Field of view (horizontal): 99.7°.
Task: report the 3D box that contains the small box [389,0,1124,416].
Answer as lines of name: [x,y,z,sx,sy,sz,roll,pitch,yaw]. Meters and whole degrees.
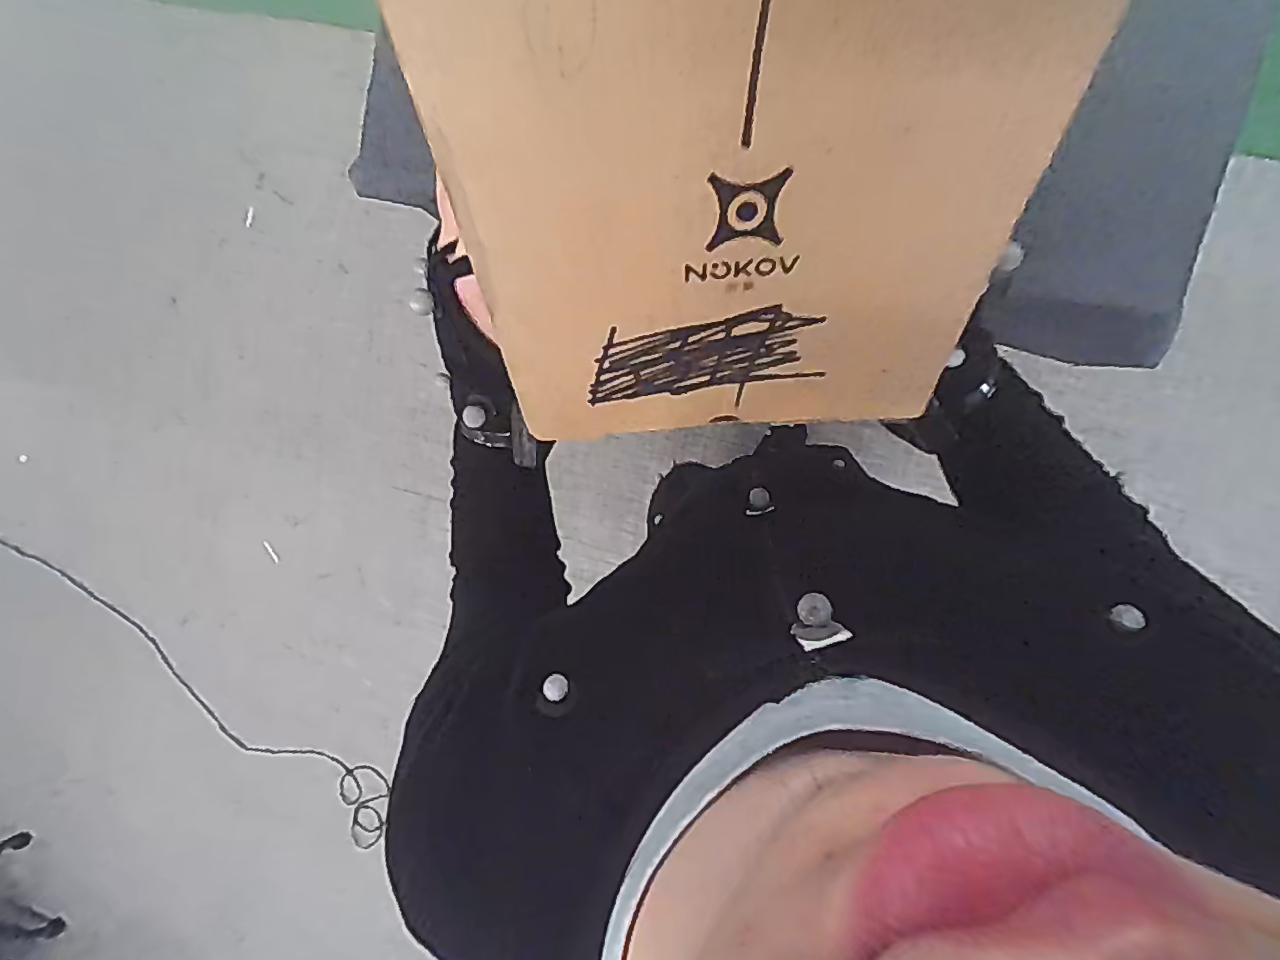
small box: [0.027,-0.146,0.205,0.168,0.179,0.176,-3,55,2]
